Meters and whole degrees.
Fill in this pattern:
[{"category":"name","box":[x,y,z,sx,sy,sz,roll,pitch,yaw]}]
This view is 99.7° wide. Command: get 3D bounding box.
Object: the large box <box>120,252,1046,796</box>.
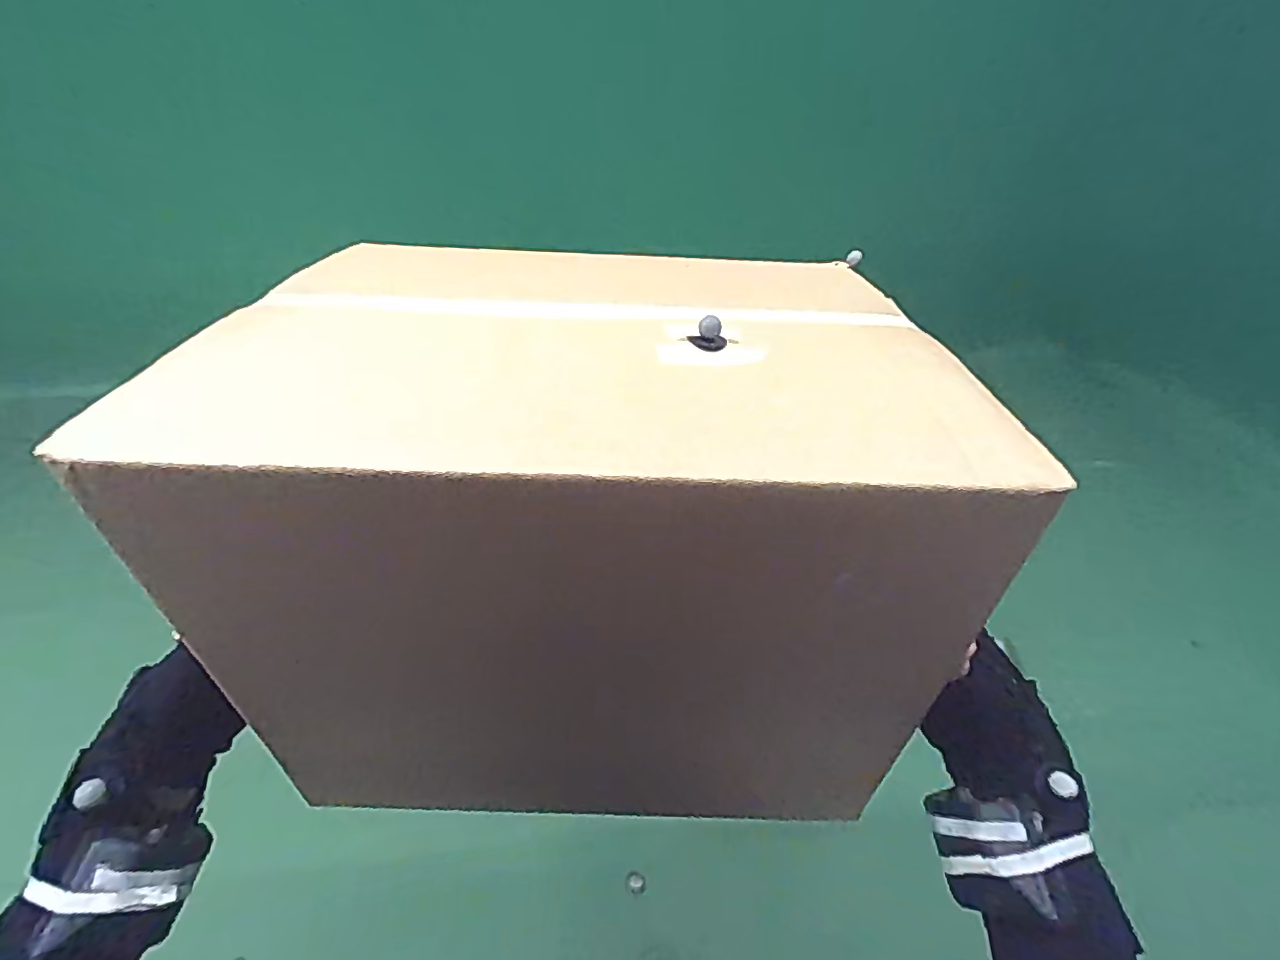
[{"category":"large box","box":[-0.027,0.024,0.434,0.408,0.320,0.320,3,38,-1]}]
